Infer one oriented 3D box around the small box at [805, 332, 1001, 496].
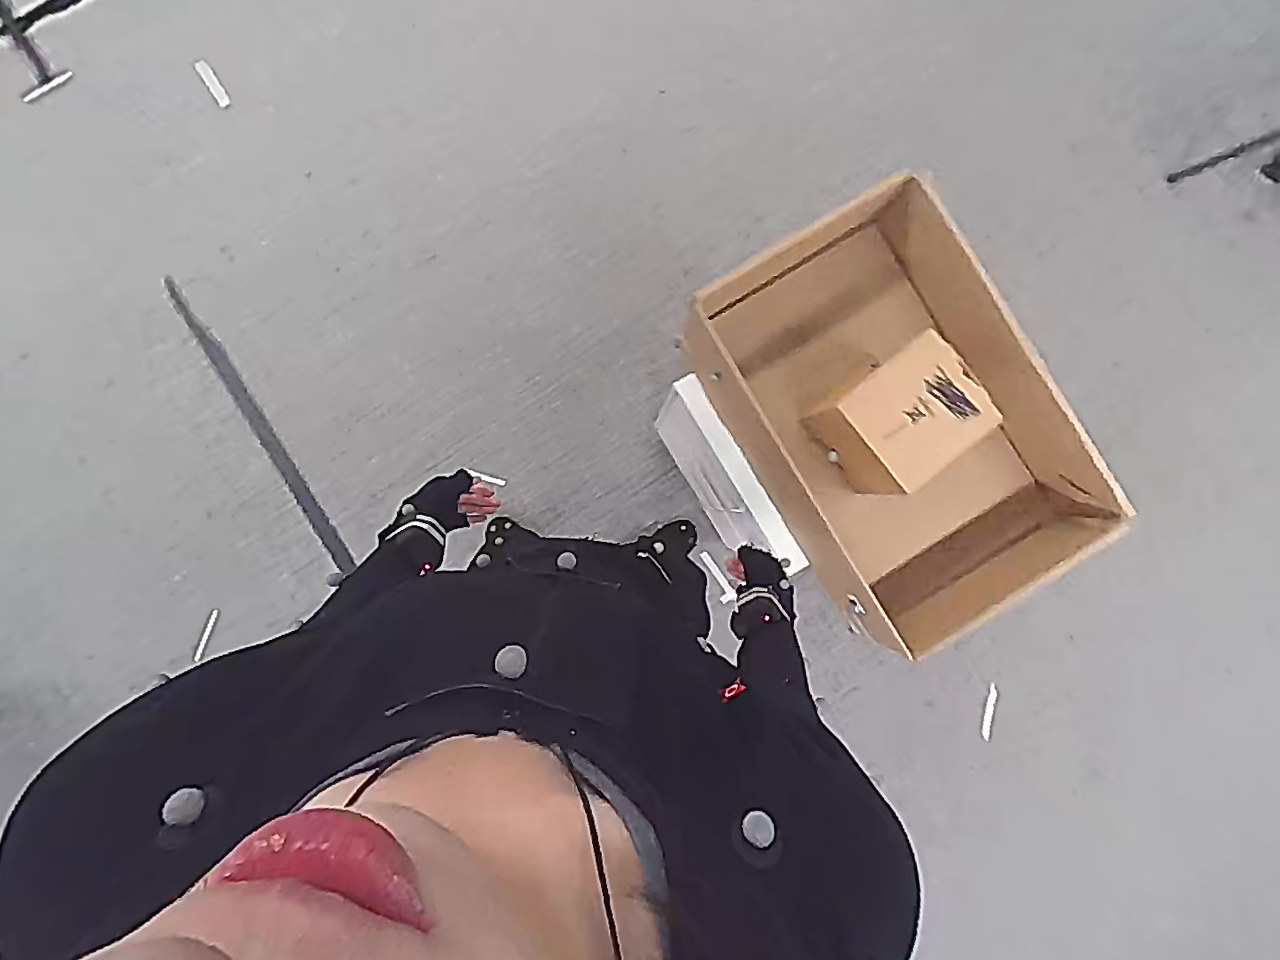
[{"bbox_3d":[0.388,-0.092,0.831,0.179,0.176,0.168,-39,89,-2],"label":"small box"}]
